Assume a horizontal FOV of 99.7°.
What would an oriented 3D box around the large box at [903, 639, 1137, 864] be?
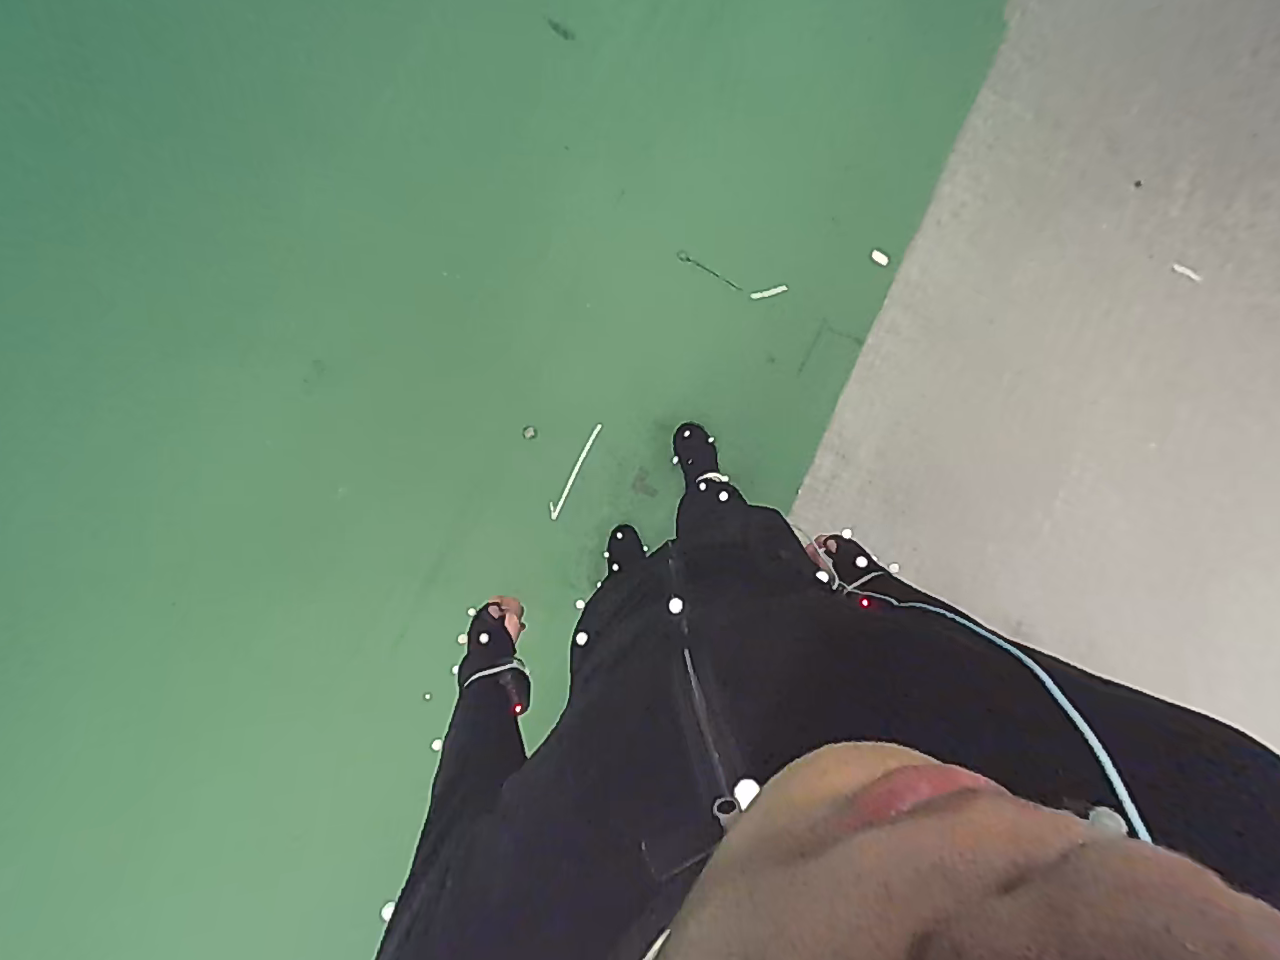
[{"bbox_3d":[1.035,0.729,1.516,0.320,0.320,0.408,35,85,-2],"label":"large box"}]
